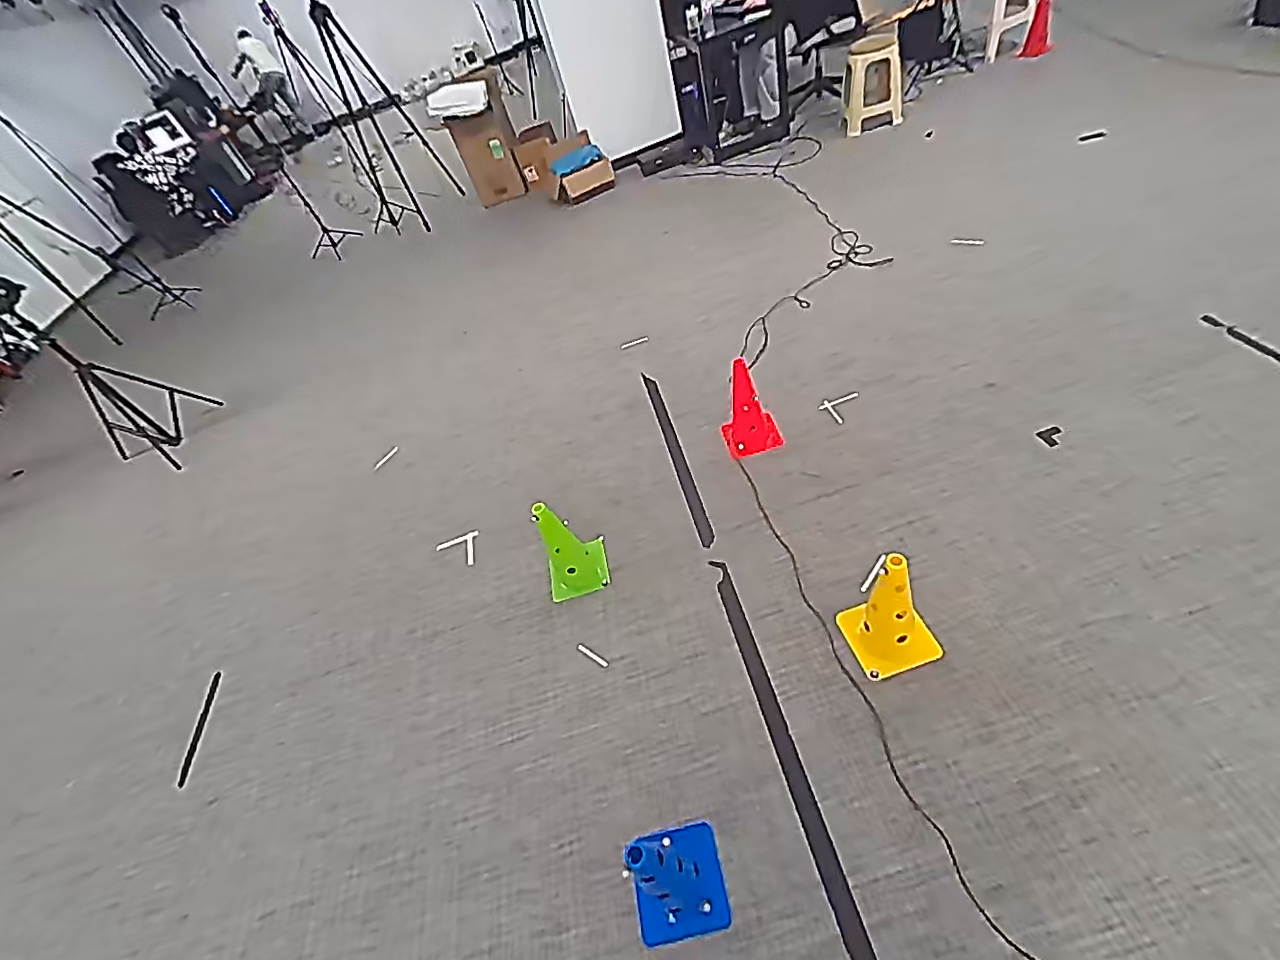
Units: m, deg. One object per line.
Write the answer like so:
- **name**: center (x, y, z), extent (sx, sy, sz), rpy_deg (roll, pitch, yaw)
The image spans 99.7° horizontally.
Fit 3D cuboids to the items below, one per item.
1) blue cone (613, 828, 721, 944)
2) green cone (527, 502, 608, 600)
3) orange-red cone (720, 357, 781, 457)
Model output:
- **blue cone**: center (0.030, 0.786, 1.083), extent (0.192, 0.380, 0.193), rpy_deg (-17, 45, 6)
- **green cone**: center (-0.261, 0.189, 1.720), extent (0.202, 0.368, 0.200), rpy_deg (-20, 45, 4)
- **orange-red cone**: center (0.371, -0.283, 1.920), extent (0.199, 0.360, 0.198), rpy_deg (-15, 47, 5)
